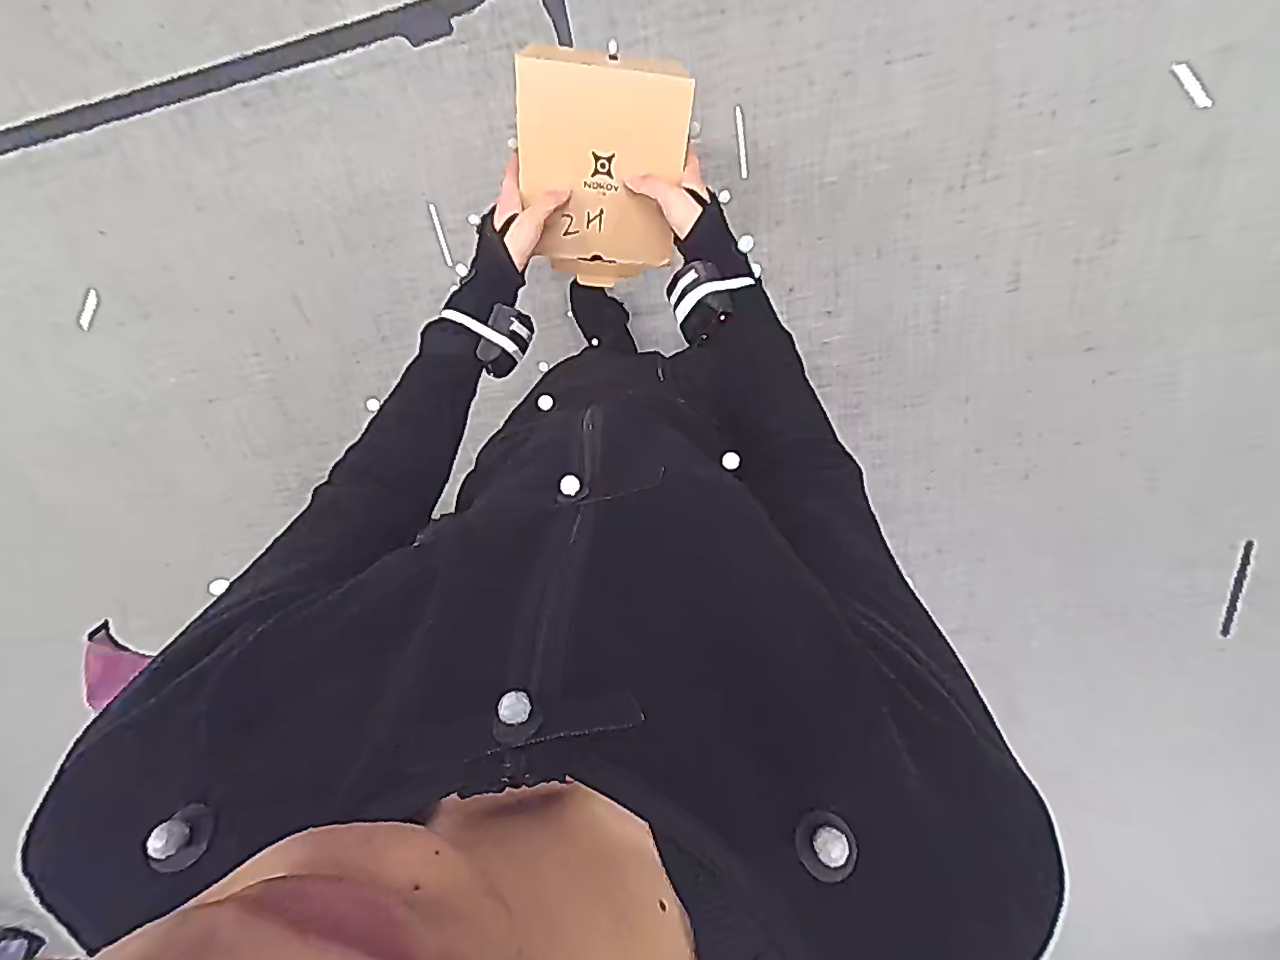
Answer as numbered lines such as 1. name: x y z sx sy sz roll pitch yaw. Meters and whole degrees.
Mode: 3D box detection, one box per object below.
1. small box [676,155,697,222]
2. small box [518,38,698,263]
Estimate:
1. small box: 0.038 -0.700 1.283 0.168 0.176 0.179 -13 114 9
2. small box: -0.042 -0.362 0.593 0.168 0.176 0.179 3 132 -7
